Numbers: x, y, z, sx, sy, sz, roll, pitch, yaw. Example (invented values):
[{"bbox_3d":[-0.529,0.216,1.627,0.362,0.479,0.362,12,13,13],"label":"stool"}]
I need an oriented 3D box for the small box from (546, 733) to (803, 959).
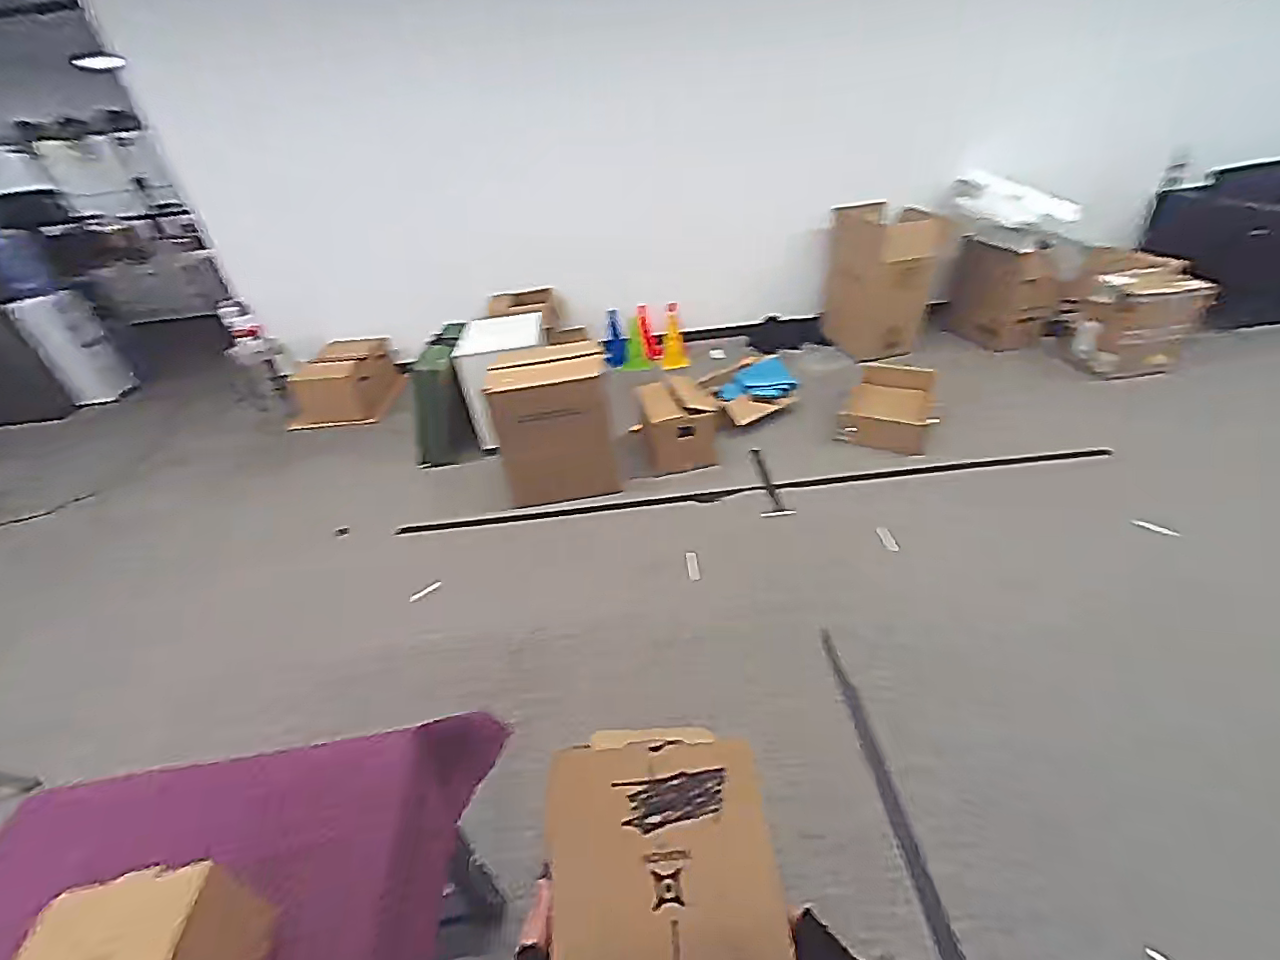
[{"bbox_3d":[0.010,0.326,0.442,0.168,0.176,0.179,2,50,-11],"label":"small box"}]

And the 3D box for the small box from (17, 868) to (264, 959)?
[{"bbox_3d":[-0.549,0.566,0.582,0.168,0.176,0.179,-10,35,-4],"label":"small box"}]
